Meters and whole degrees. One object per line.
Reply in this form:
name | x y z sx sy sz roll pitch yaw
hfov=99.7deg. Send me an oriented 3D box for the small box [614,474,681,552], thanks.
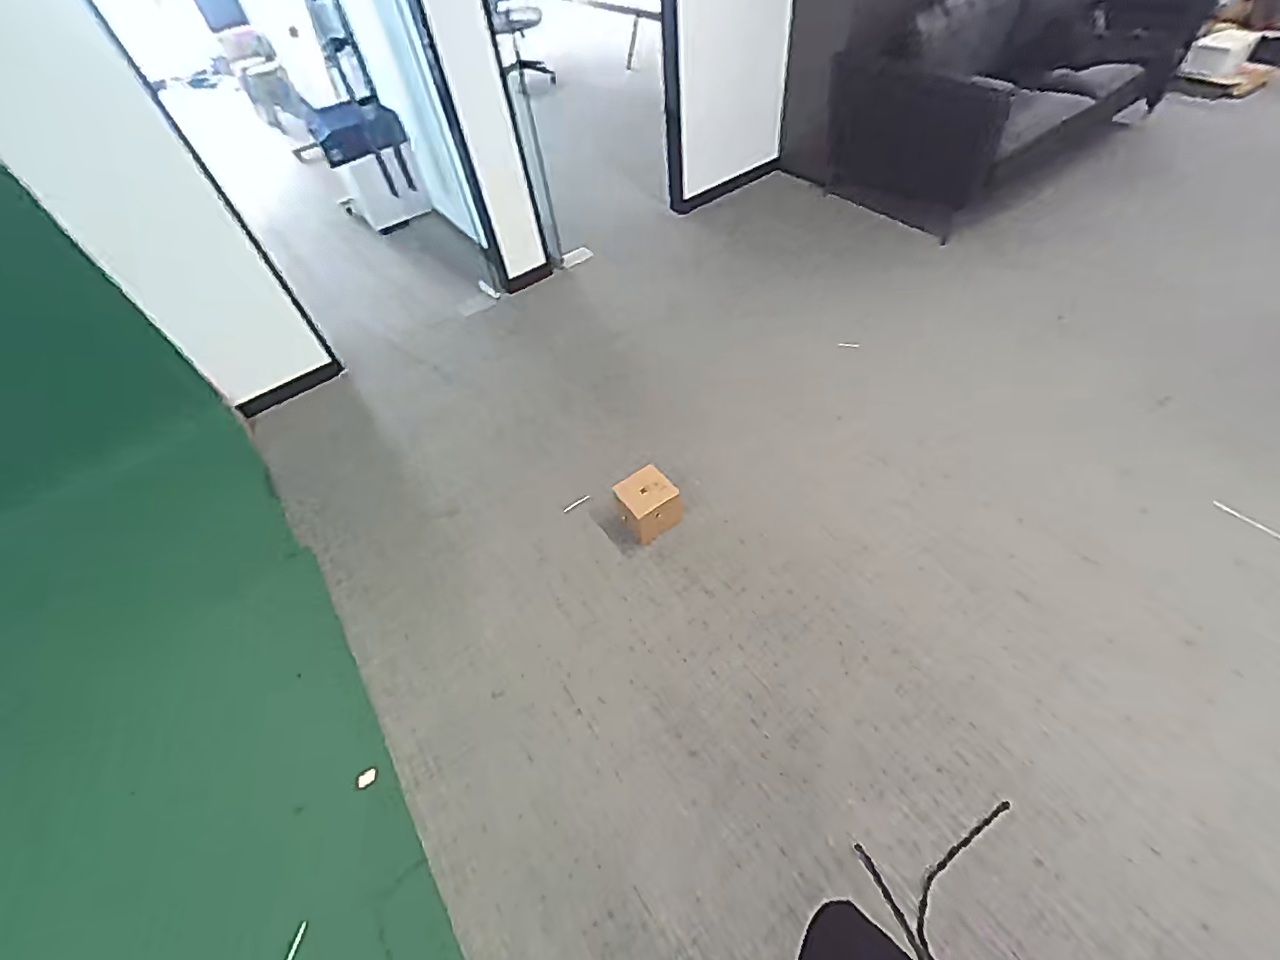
small box | 0.032 0.120 1.886 0.179 0.176 0.168 -31 54 -18
